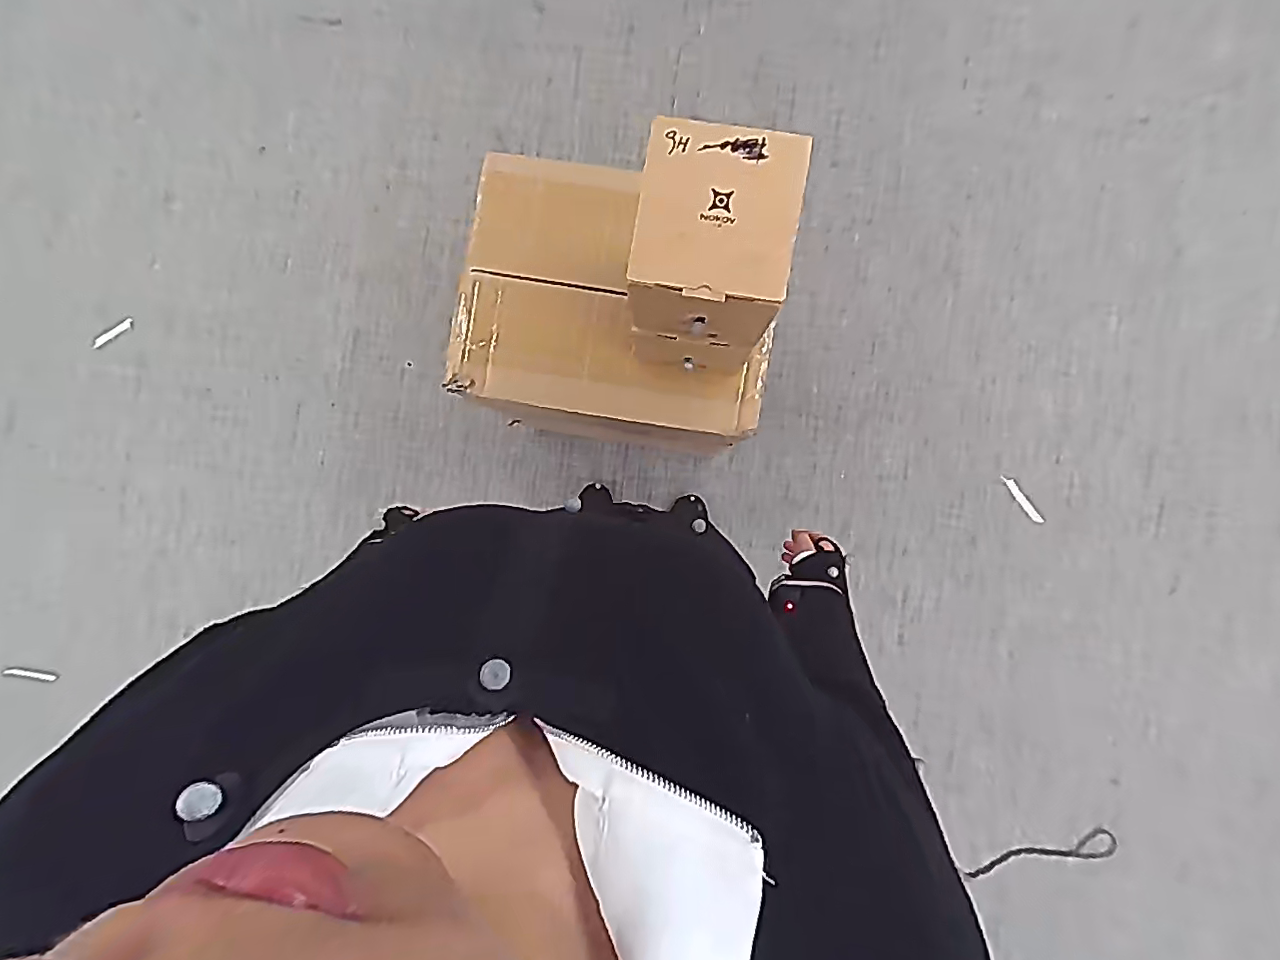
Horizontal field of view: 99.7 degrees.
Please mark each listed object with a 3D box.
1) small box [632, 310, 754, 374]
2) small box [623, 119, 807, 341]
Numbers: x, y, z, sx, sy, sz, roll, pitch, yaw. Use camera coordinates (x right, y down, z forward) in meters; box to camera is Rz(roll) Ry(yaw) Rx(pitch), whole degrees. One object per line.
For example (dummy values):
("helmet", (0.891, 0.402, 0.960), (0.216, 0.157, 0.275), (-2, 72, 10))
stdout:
("small box", (0.086, -0.269, 0.798), (0.168, 0.176, 0.179), (9, 90, 4))
("small box", (0.082, -0.274, 0.634), (0.168, 0.176, 0.179), (10, 90, 3))
